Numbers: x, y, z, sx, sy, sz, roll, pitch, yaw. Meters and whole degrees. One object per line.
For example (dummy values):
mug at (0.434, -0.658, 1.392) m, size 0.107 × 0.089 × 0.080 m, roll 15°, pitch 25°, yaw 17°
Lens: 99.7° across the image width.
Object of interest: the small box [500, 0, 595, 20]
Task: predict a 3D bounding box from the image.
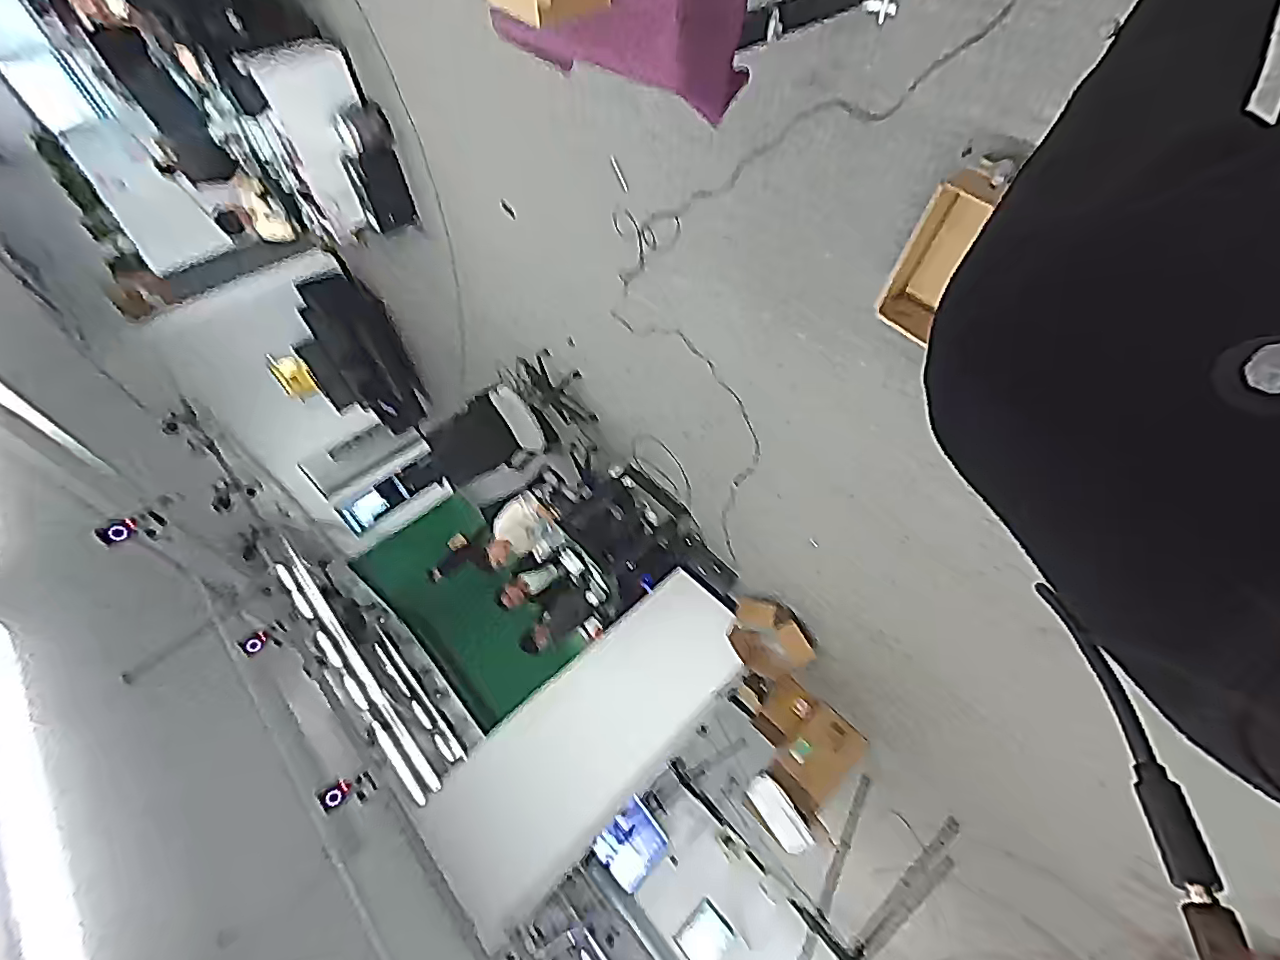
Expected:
small box at (-0.172, -0.953, 0.948) m, size 0.179 × 0.176 × 0.168 m, roll 43°, pitch 154°, yaw 22°
